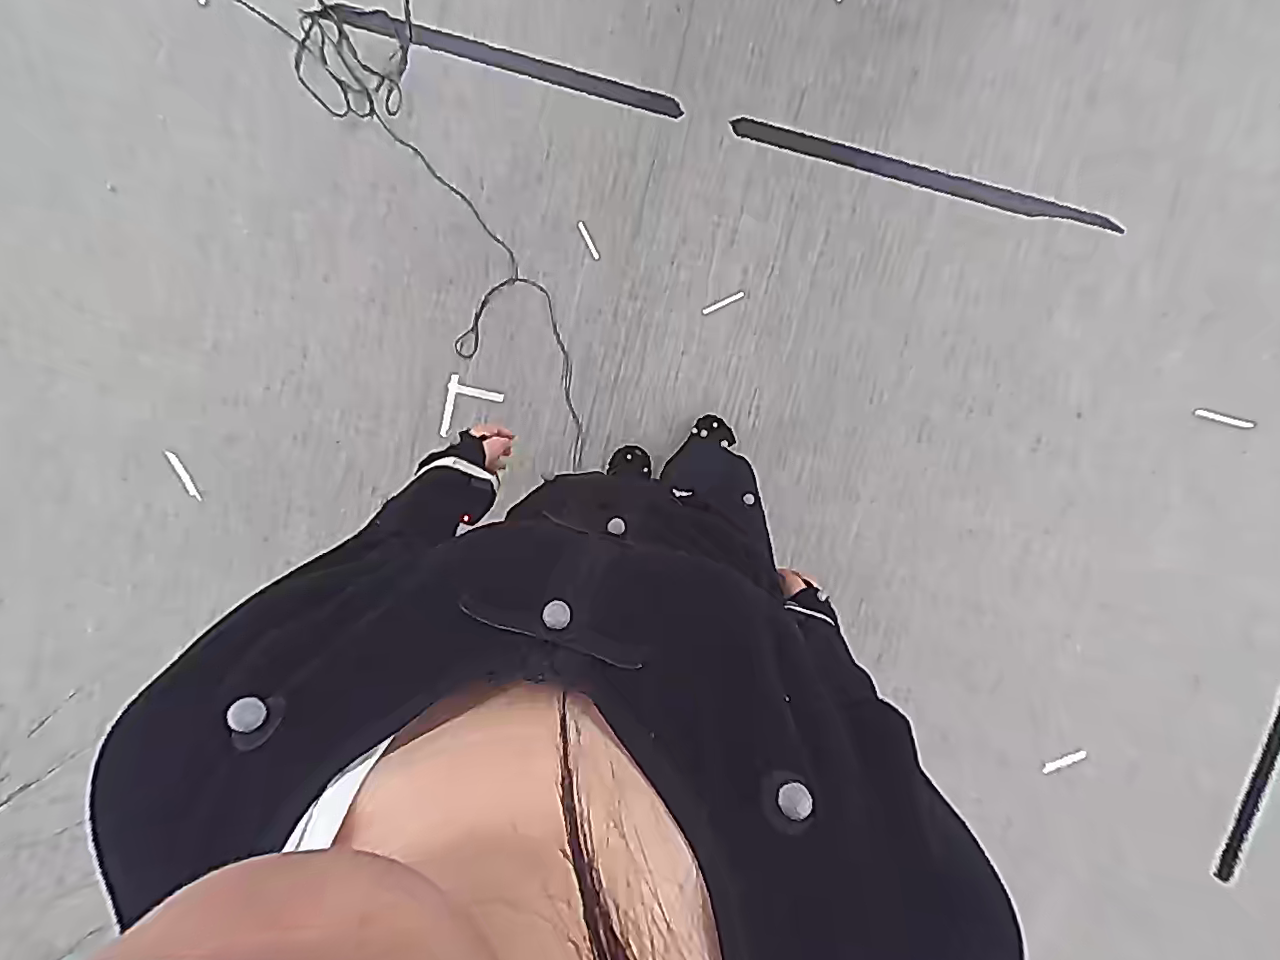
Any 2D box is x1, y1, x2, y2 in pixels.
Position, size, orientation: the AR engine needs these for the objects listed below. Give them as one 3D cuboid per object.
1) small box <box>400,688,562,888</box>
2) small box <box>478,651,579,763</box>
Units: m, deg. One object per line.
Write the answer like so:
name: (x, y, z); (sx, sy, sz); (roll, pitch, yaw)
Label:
small box: (-0.222, 0.442, 0.806); (0.168, 0.176, 0.179); (18, 95, 0)
small box: (-0.216, 0.434, 0.969); (0.168, 0.176, 0.179); (20, 94, 1)
